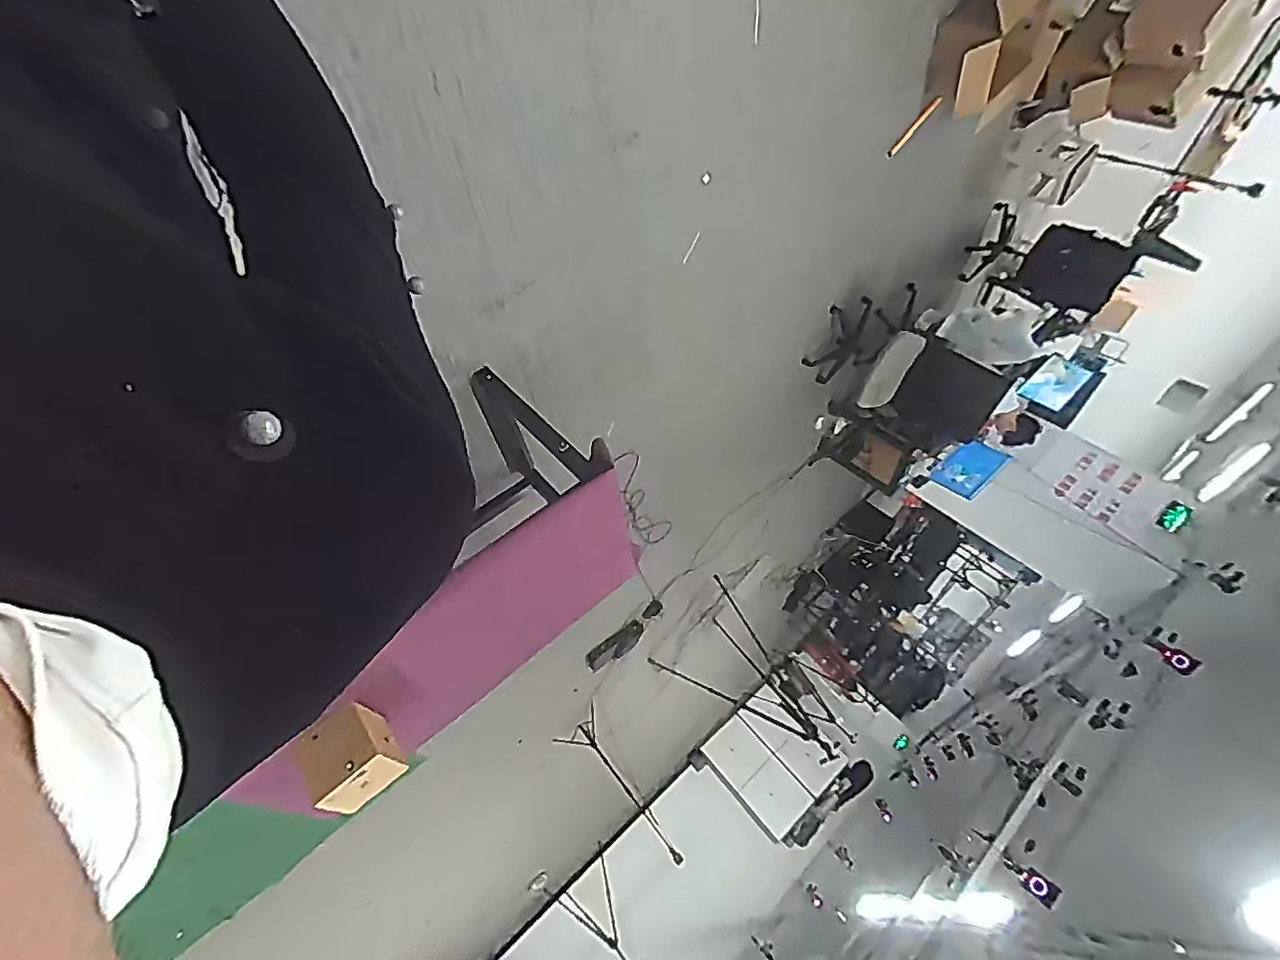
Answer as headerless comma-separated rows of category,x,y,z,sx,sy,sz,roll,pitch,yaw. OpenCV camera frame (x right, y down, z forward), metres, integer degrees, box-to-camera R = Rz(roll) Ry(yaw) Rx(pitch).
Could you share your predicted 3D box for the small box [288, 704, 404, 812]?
small box,-0.735,0.694,1.356,0.168,0.176,0.179,-37,149,-20
